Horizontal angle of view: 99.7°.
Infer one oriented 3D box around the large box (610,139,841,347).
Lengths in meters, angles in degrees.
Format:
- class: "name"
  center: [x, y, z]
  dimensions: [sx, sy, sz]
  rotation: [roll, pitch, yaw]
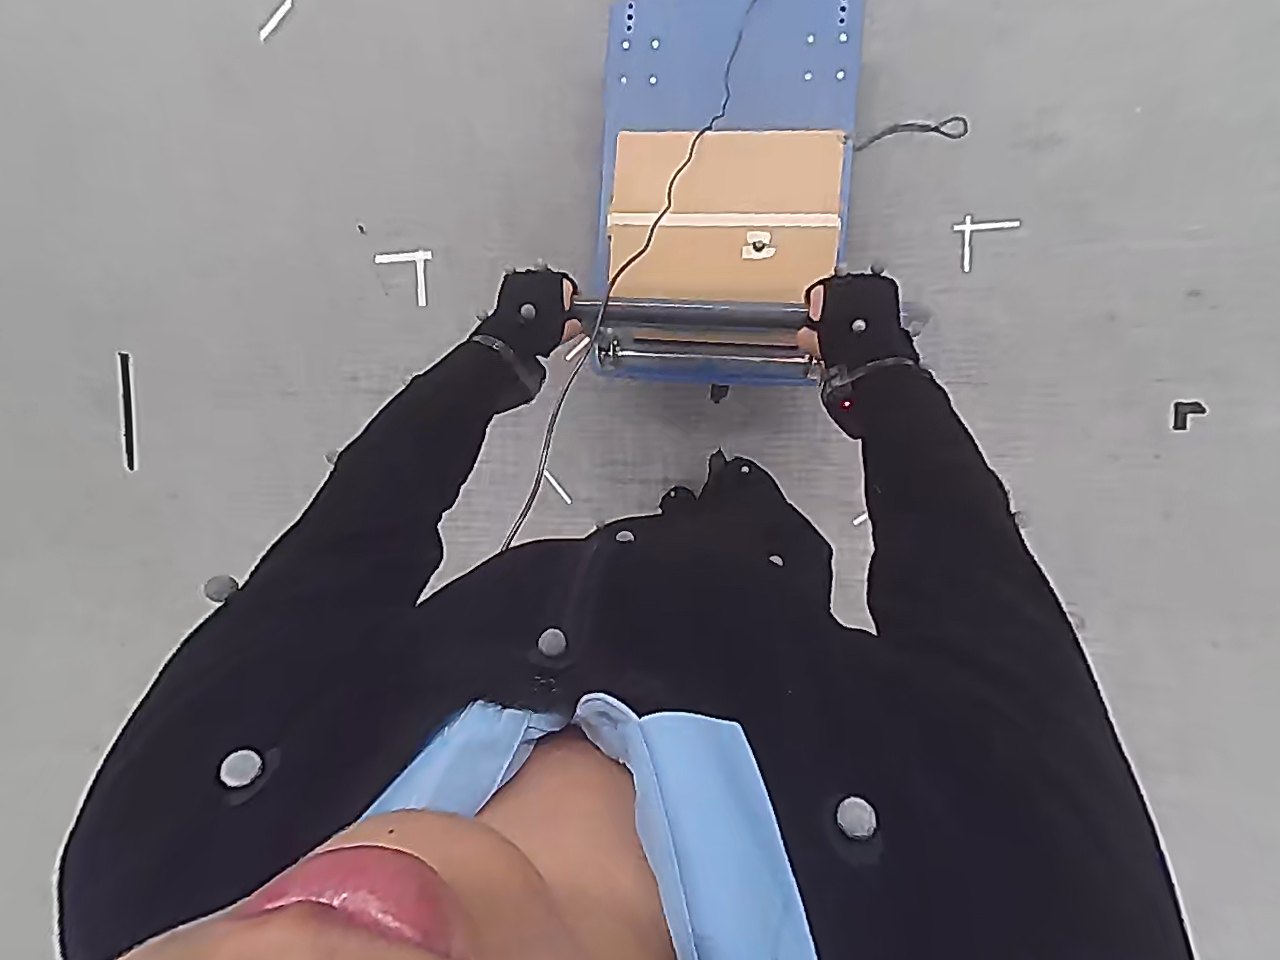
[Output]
- class: "large box"
  center: [0.161, -0.461, 1.119]
  dimensions: [0.408, 0.320, 0.320]
  rotation: [4, 94, 6]
